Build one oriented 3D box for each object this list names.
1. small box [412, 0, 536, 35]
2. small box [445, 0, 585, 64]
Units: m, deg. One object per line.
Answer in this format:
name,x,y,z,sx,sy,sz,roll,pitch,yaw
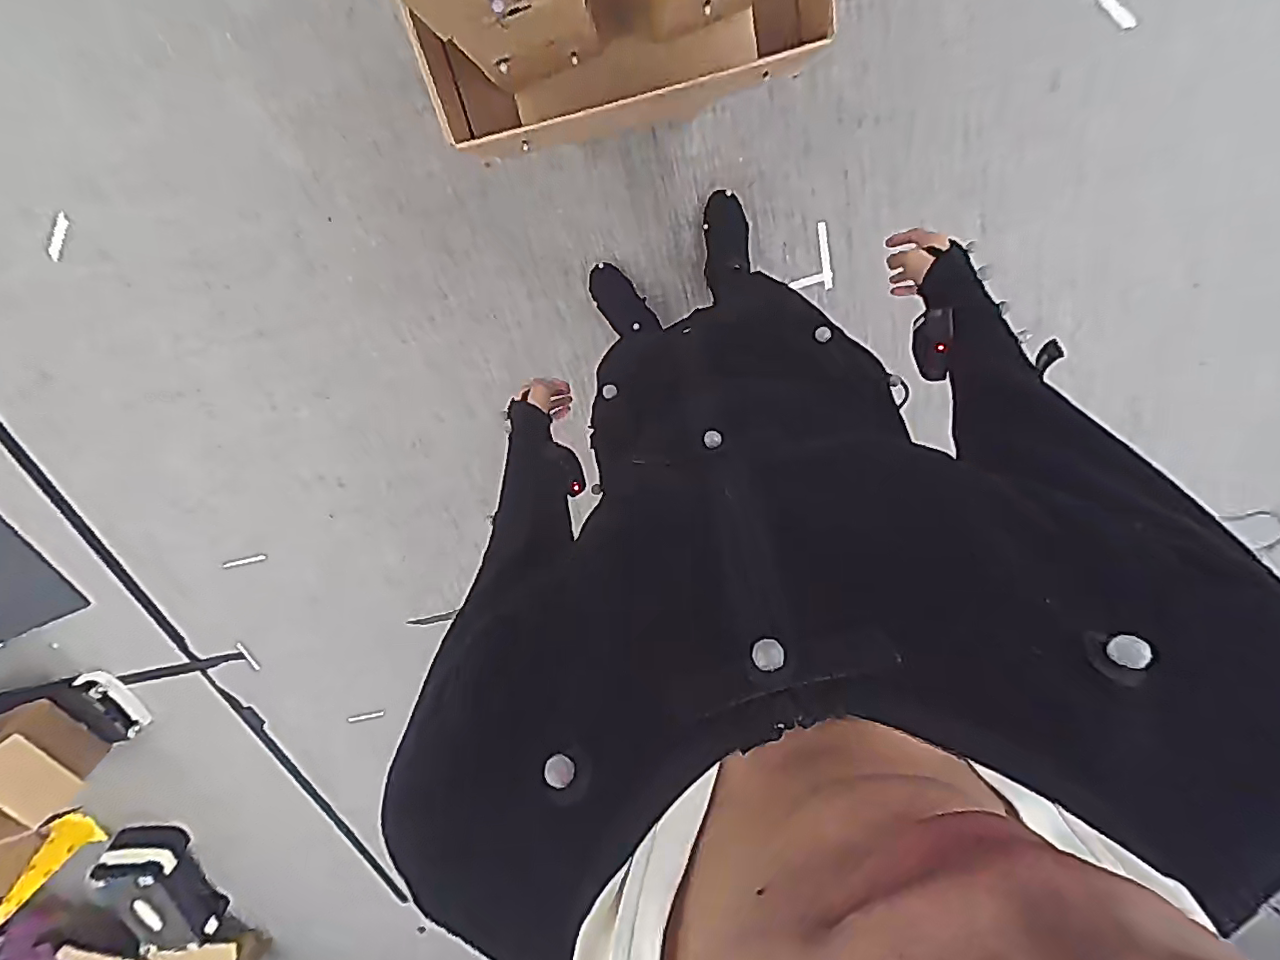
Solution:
small box,-0.186,-0.582,0.519,0.168,0.176,0.179,-17,114,8
small box,-0.174,-0.652,0.669,0.168,0.176,0.179,-16,114,6
